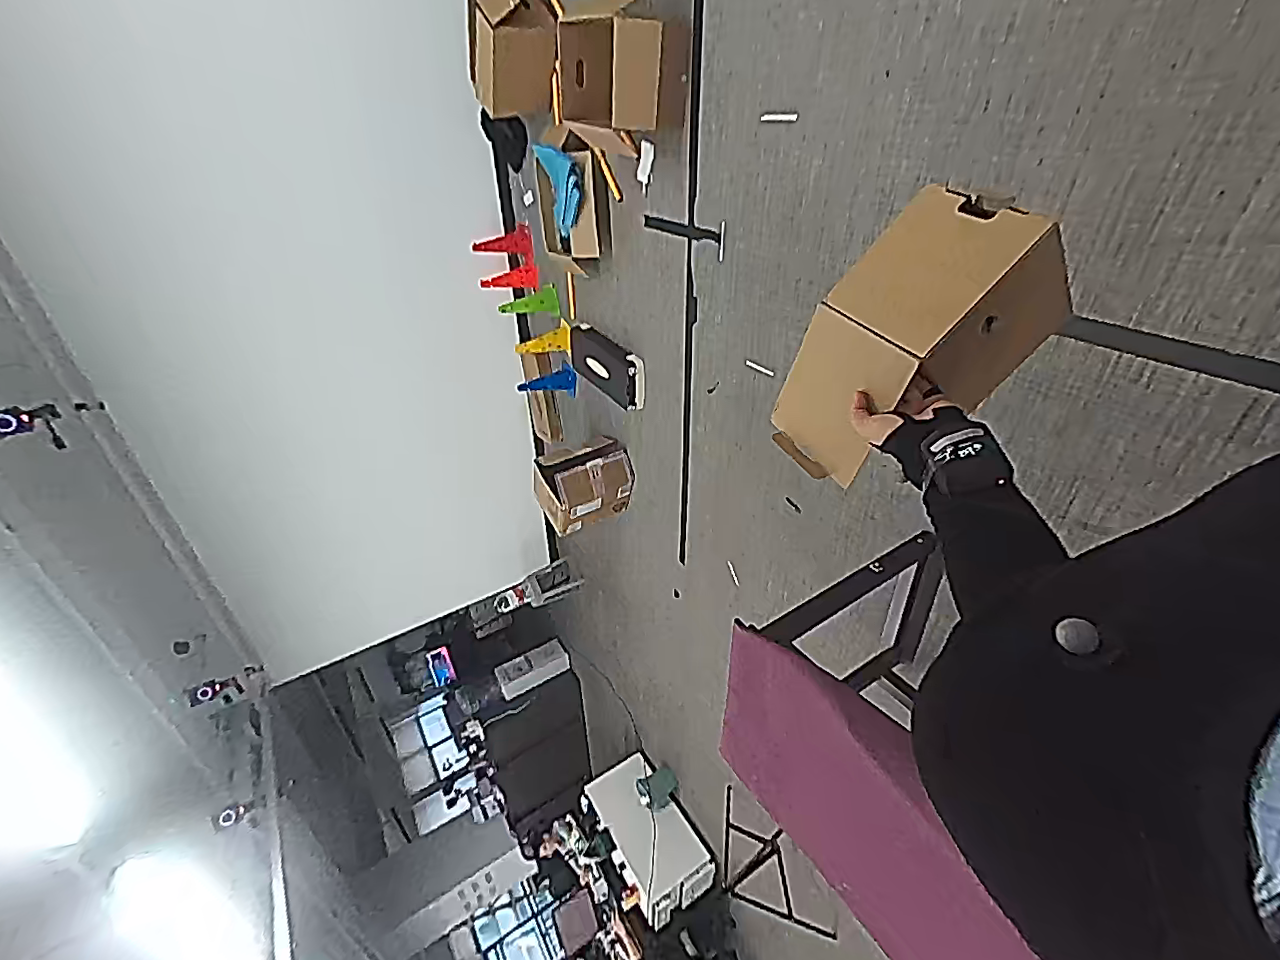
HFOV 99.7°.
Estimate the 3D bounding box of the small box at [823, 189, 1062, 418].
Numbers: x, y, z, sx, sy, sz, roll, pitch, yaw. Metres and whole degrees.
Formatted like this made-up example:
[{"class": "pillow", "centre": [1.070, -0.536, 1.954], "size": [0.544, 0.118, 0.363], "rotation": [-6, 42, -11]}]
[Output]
[{"class": "small box", "centre": [0.368, -0.206, 0.656], "size": [0.179, 0.176, 0.168], "rotation": [-48, 45, 14]}]
